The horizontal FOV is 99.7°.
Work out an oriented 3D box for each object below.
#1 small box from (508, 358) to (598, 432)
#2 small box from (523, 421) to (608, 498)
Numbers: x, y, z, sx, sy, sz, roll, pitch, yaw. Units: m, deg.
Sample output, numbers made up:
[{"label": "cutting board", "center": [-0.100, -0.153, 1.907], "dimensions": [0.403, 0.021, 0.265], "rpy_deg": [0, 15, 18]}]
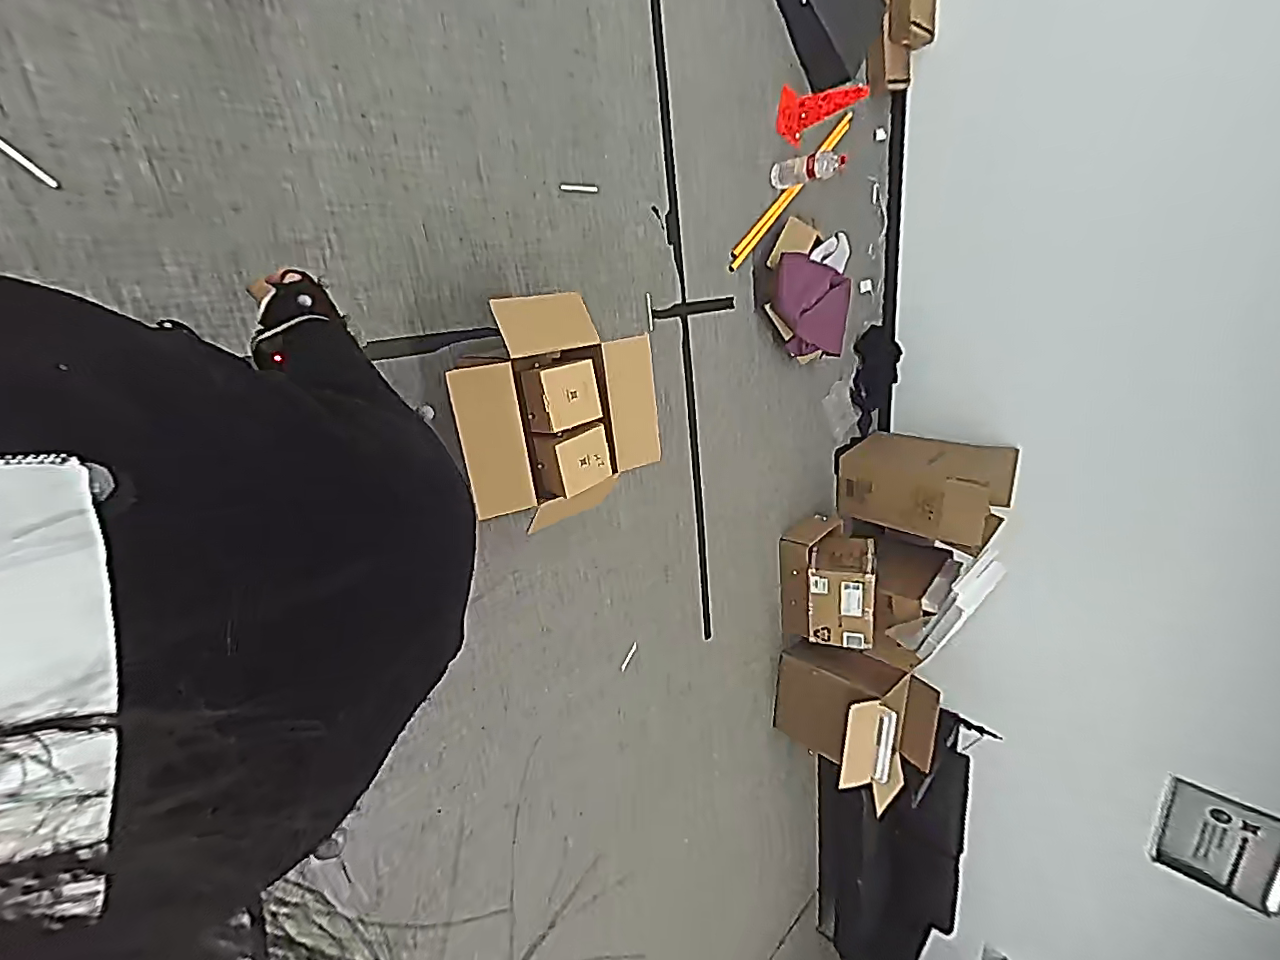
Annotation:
[{"label": "small box", "center": [-0.247, -0.237, 1.500], "dimensions": [0.179, 0.176, 0.168], "rpy_deg": [-27, 115, -40]}, {"label": "small box", "center": [-0.221, -0.072, 1.566], "dimensions": [0.179, 0.176, 0.168], "rpy_deg": [-30, 124, -36]}]
